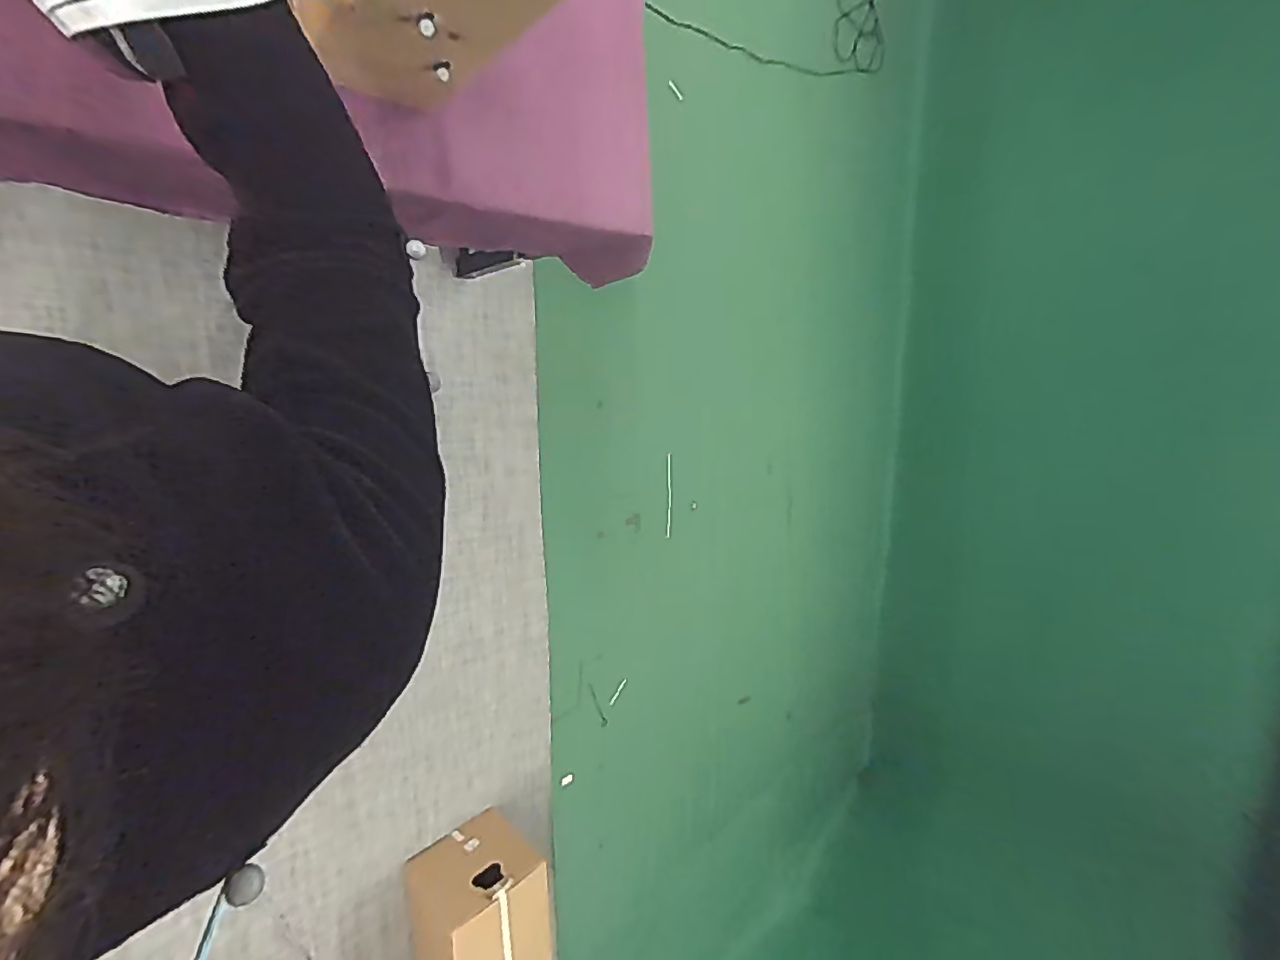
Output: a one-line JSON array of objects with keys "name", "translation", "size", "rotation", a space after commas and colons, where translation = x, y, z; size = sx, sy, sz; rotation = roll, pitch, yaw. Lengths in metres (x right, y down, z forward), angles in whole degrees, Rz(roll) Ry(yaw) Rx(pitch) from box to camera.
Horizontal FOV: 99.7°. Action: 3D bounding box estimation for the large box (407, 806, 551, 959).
[{"name": "large box", "translation": [-0.507, 1.361, 1.711], "size": [0.320, 0.320, 0.408], "rotation": [-12, 106, -44]}]
